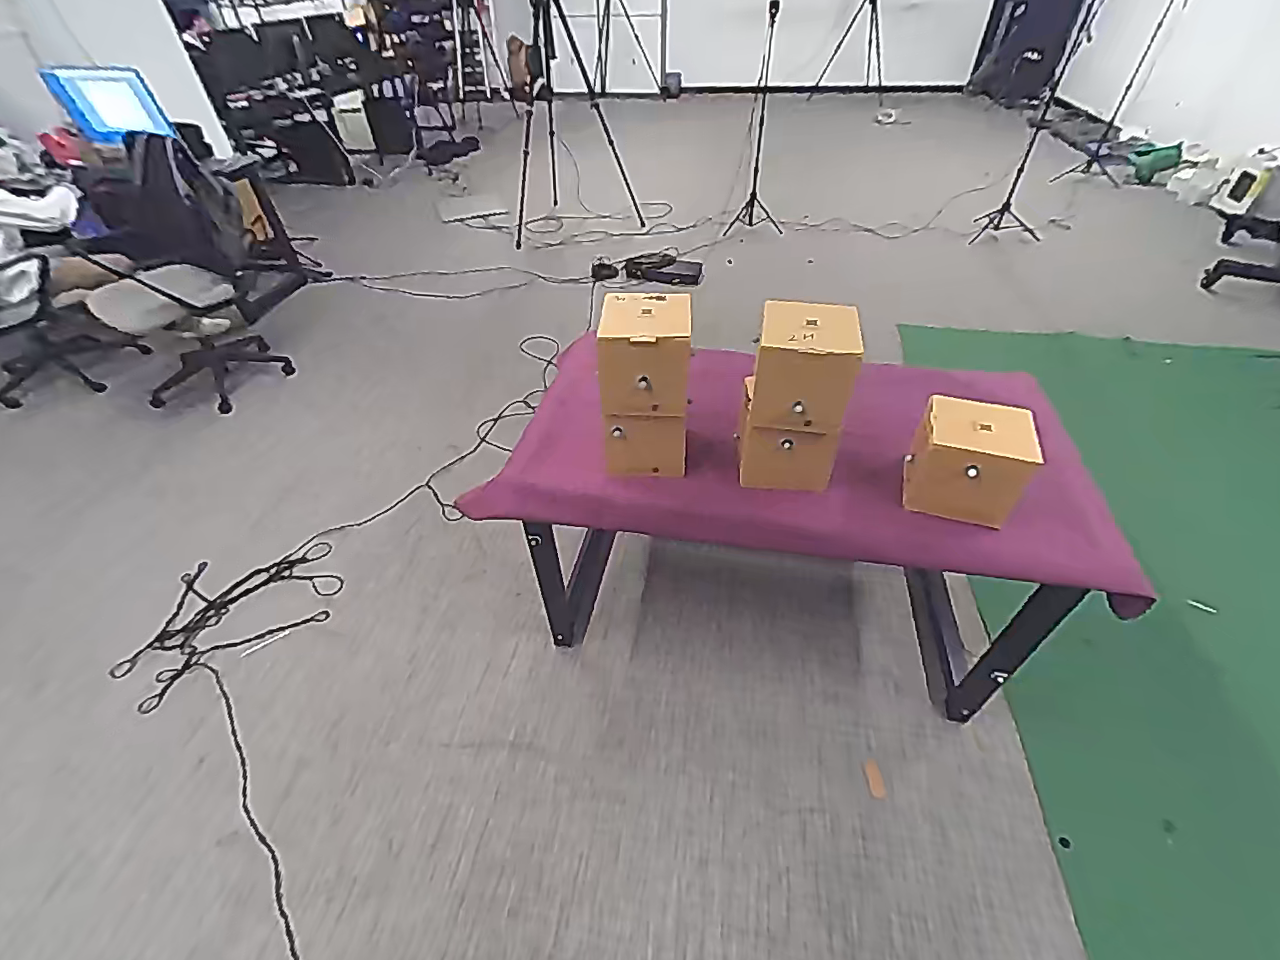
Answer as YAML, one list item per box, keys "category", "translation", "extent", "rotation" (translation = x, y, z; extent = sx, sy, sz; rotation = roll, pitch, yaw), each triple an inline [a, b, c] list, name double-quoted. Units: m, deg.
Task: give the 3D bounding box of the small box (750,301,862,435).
- category: "small box"
  translation: [0.297, -0.207, 0.992]
  extent: [0.168, 0.176, 0.179]
  rotation: [7, 45, 10]

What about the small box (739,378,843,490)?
- category: "small box"
  translation: [0.298, -0.093, 1.112]
  extent: [0.179, 0.176, 0.168]
  rotation: [3, 44, 4]

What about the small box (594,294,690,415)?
- category: "small box"
  translation: [0.011, -0.239, 1.035]
  extent: [0.168, 0.176, 0.179]
  rotation: [2, 44, 3]

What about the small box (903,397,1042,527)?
- category: "small box"
  translation: [0.624, -0.032, 1.035]
  extent: [0.179, 0.176, 0.168]
  rotation: [13, 44, 17]
